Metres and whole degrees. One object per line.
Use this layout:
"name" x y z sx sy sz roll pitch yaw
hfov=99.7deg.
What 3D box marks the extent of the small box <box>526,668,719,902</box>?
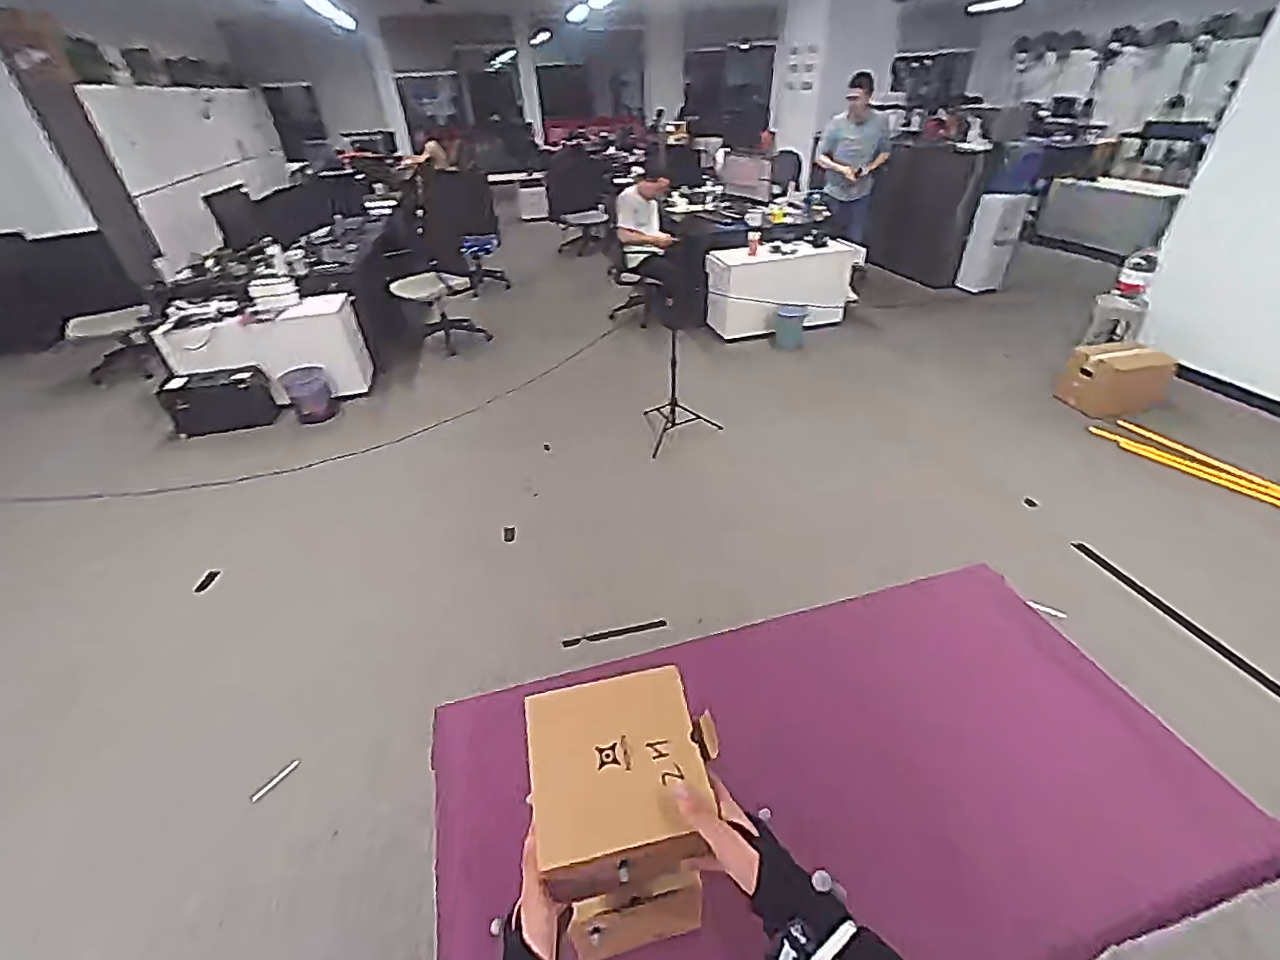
"small box" -0.024 0.343 0.608 0.179 0.176 0.168 -9 44 -10
